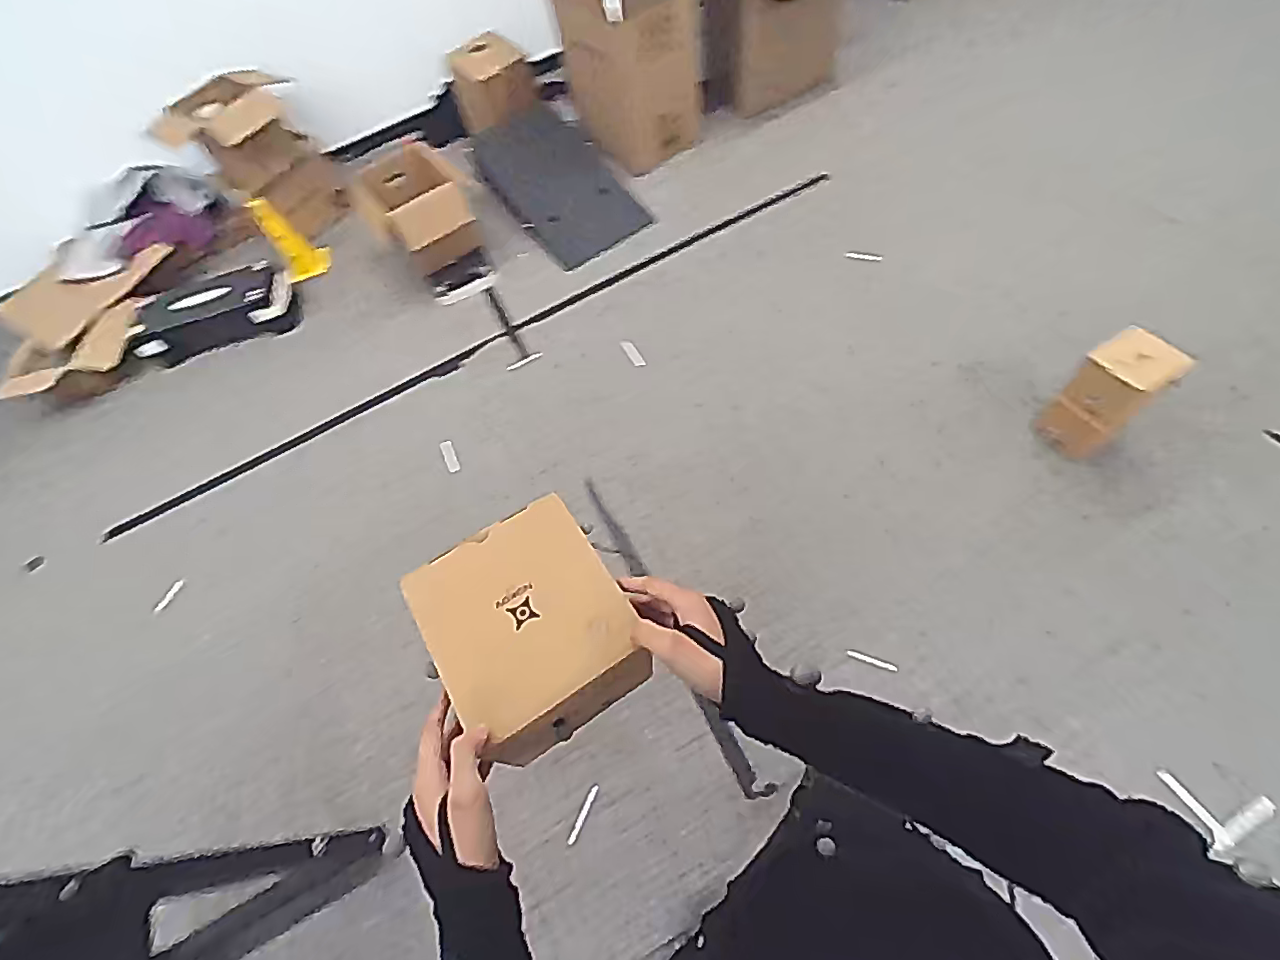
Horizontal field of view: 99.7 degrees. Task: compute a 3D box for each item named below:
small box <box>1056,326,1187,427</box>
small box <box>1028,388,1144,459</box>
[{"bbox_3d":[1.300,-0.280,1.477,0.179,0.176,0.168,-29,58,-6],"label":"small box"},{"bbox_3d":[1.318,-0.195,1.616,0.179,0.176,0.168,-29,59,-7],"label":"small box"}]
